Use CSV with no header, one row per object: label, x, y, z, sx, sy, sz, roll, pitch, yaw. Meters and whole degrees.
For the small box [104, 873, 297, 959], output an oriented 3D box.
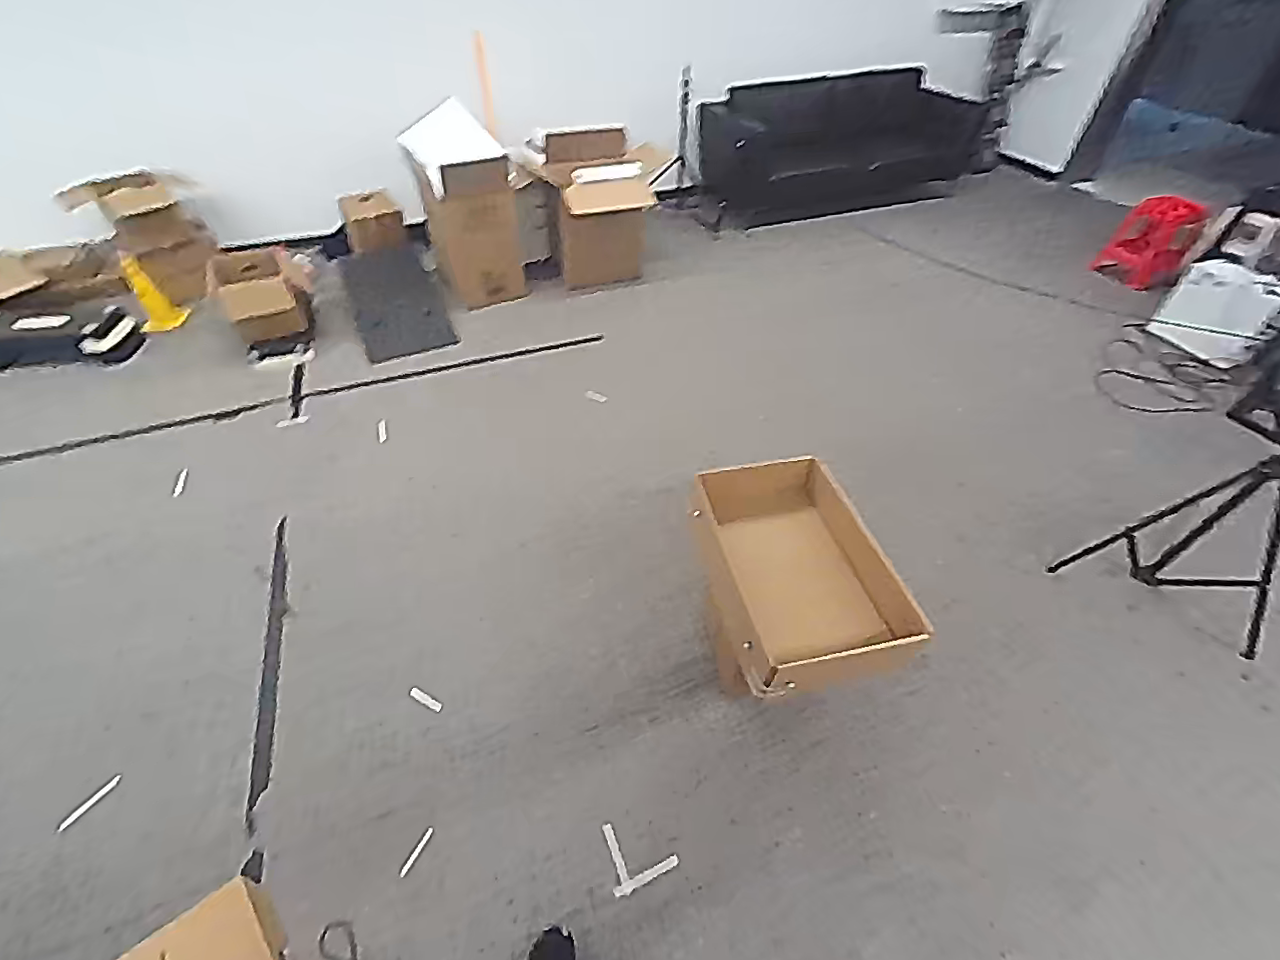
small box,-0.499,0.598,0.614,0.168,0.176,0.179,-26,61,-38
